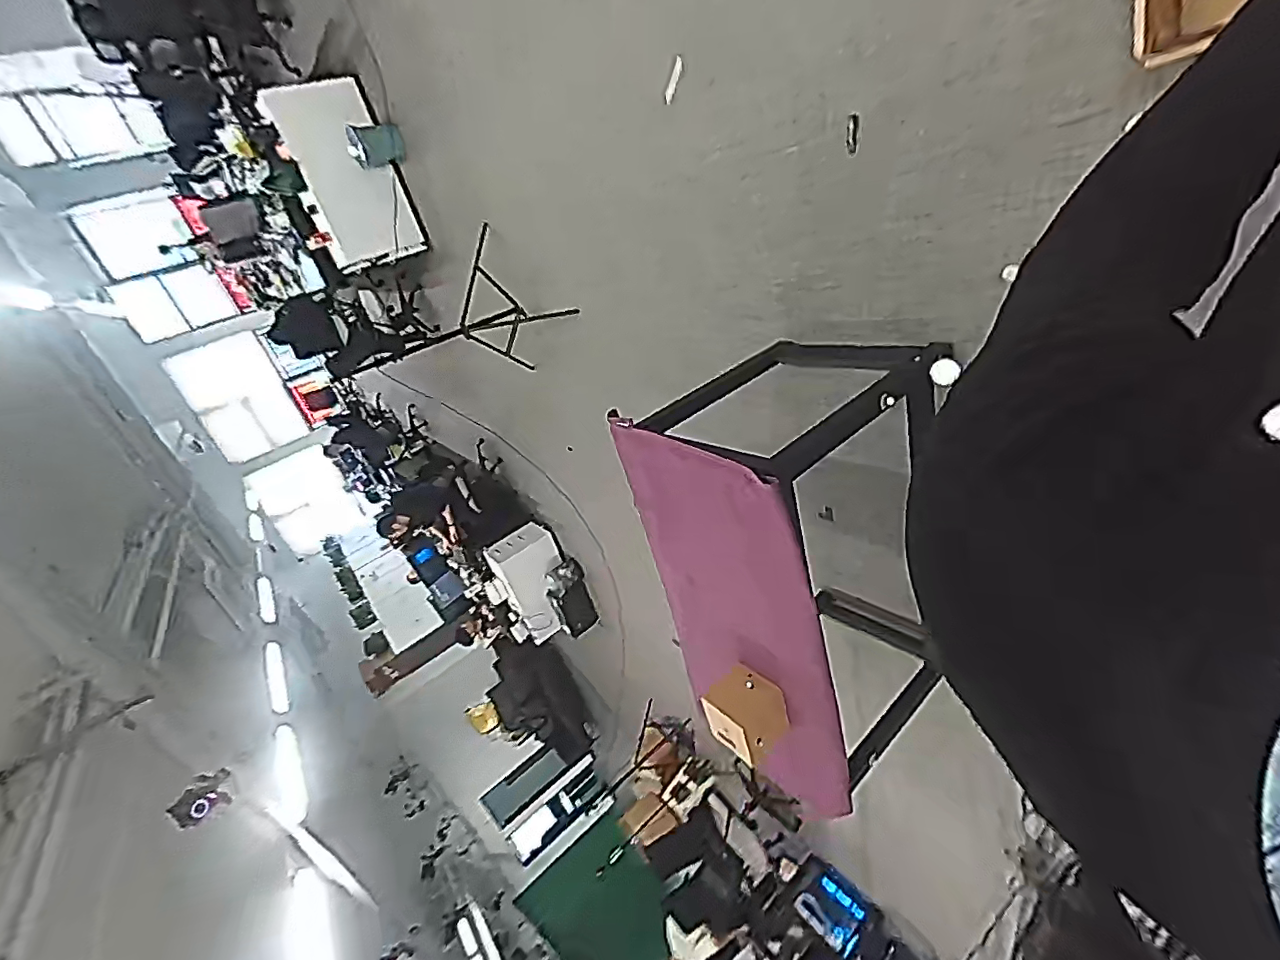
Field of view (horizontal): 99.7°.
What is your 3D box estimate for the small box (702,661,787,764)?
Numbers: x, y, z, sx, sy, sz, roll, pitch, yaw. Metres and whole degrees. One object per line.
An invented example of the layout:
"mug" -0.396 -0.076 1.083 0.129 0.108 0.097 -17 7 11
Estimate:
"small box" 0.310 0.672 1.578 0.168 0.176 0.179 21 135 51
